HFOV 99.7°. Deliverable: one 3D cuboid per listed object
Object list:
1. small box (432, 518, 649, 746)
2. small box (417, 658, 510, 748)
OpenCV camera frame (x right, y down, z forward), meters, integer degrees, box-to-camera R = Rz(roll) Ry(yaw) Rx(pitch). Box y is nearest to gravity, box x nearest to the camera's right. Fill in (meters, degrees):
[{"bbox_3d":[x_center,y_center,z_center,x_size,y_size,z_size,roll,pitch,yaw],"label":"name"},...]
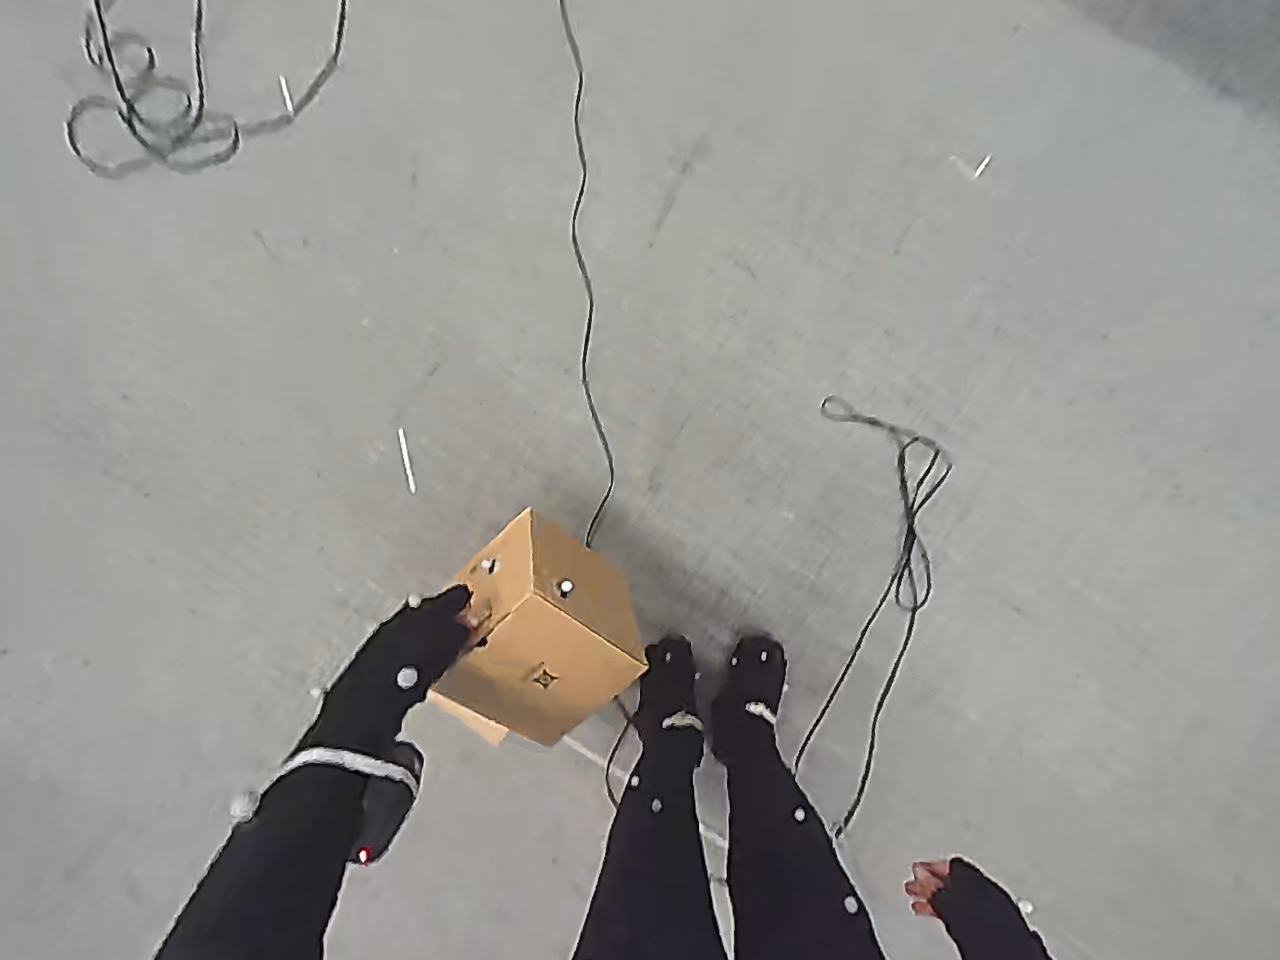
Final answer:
[{"bbox_3d":[-0.118,0.176,0.653,0.179,0.176,0.168,38,104,-27],"label":"small box"},{"bbox_3d":[-0.242,0.311,0.937,0.168,0.176,0.179,35,90,2],"label":"small box"}]
